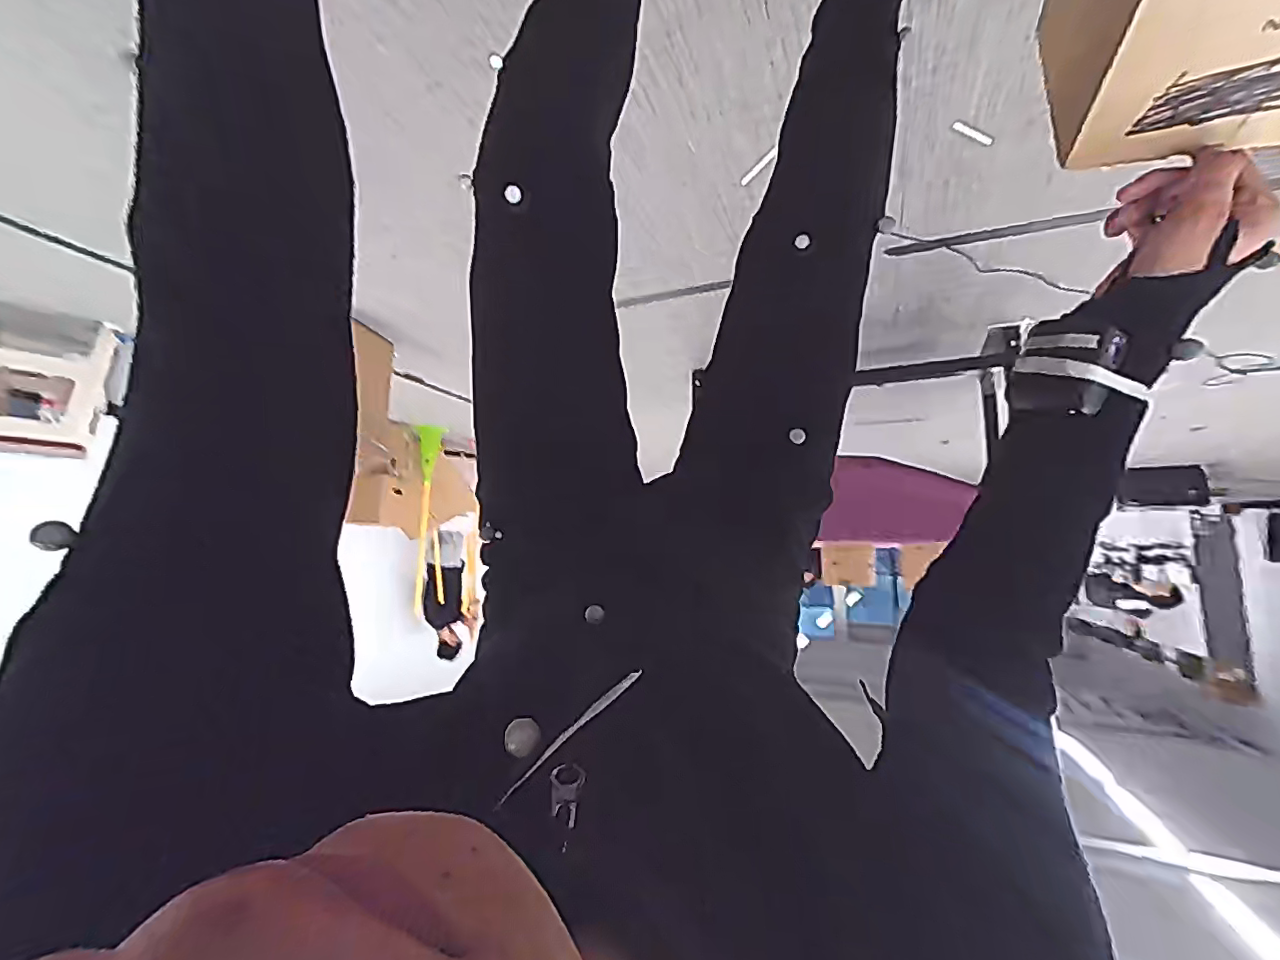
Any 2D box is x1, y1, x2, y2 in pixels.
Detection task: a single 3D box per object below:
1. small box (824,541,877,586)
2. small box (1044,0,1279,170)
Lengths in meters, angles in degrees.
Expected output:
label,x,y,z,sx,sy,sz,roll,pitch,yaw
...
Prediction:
label,x,y,z,sx,sy,sz,roll,pitch,yaw
small box,0.827,0.327,2.128,0.168,0.176,0.179,-4,171,33
small box,0.357,-0.317,0.304,0.168,0.176,0.179,3,156,17
